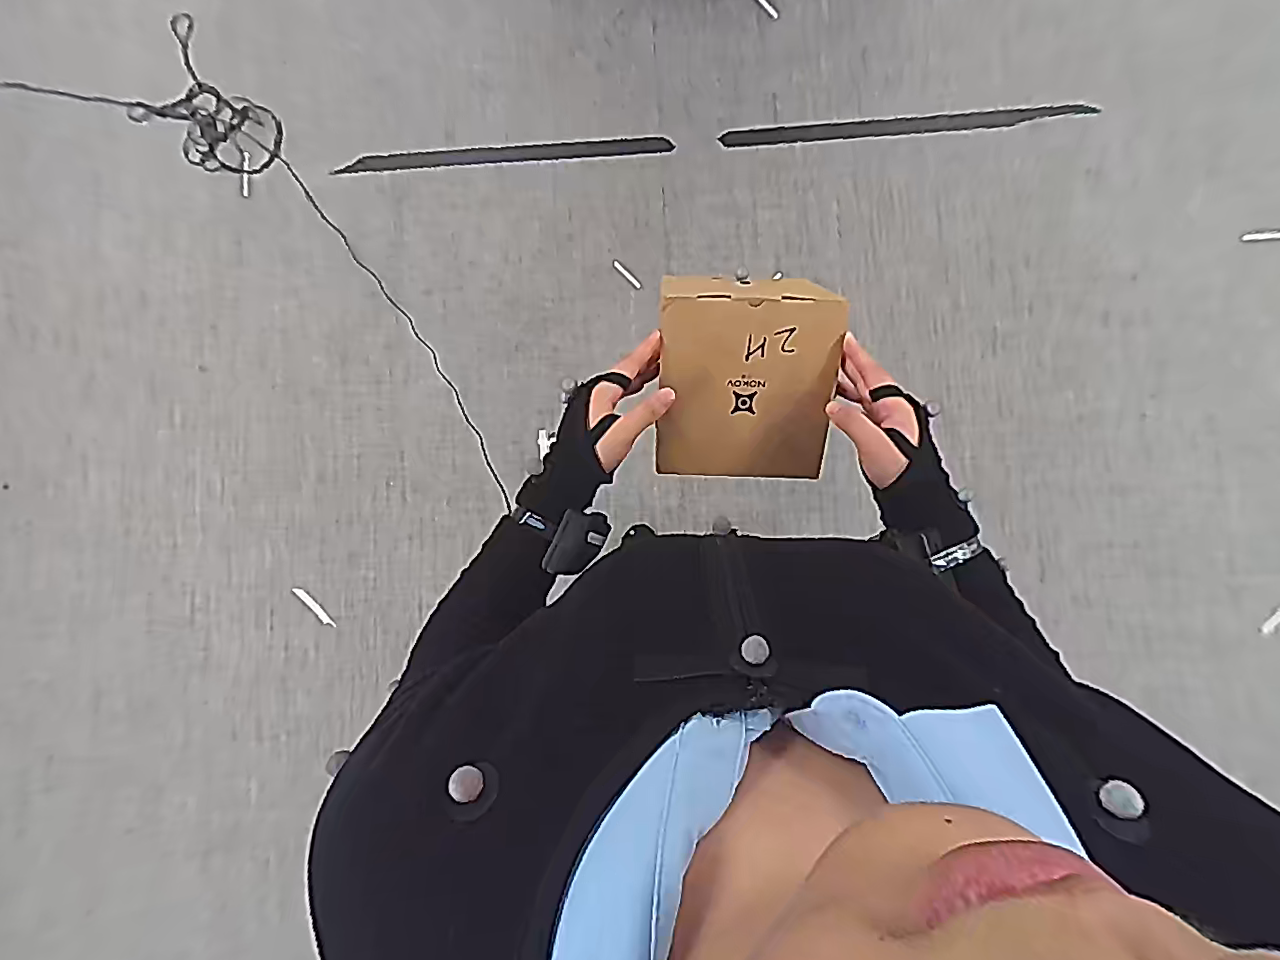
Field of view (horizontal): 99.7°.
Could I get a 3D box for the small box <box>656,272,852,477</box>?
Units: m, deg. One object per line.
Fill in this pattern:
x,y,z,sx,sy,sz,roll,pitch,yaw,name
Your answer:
0.104,-0.119,0.576,0.168,0.176,0.179,2,115,1,small box
